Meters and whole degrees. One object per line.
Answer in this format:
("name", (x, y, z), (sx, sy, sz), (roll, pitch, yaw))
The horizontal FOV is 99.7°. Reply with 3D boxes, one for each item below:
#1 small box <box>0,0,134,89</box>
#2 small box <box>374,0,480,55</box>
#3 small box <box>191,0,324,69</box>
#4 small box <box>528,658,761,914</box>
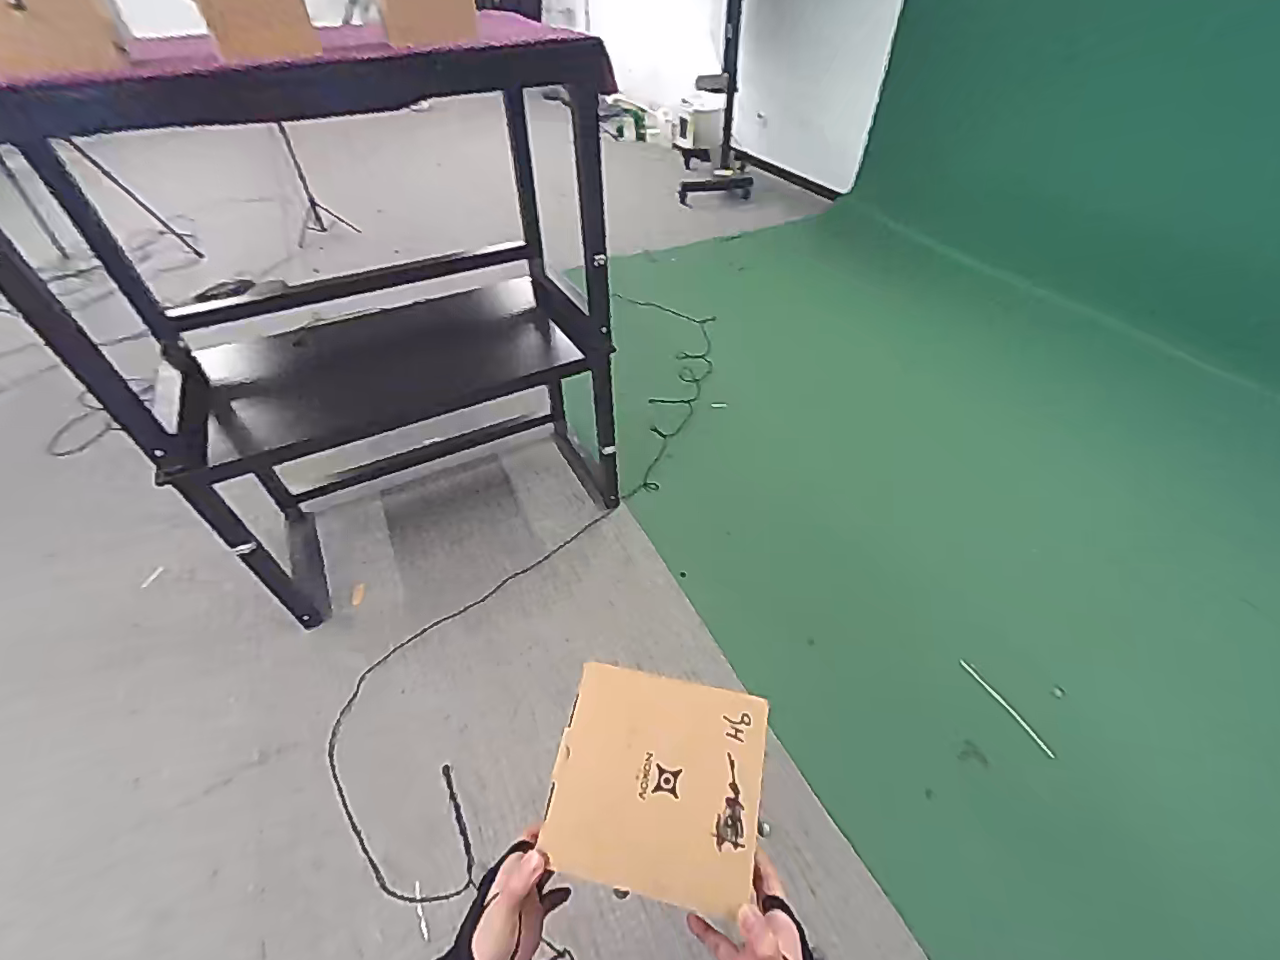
("small box", (-0.982, -0.761, 0.882), (0.179, 0.176, 0.168), (-23, 49, -20))
("small box", (-0.441, -0.973, 1.086), (0.179, 0.176, 0.168), (-19, 48, -17))
("small box", (-0.714, -0.871, 0.991), (0.179, 0.176, 0.168), (-21, 48, -20))
("small box", (0.014, 0.294, 0.531), (0.179, 0.176, 0.168), (9, 59, 9))
